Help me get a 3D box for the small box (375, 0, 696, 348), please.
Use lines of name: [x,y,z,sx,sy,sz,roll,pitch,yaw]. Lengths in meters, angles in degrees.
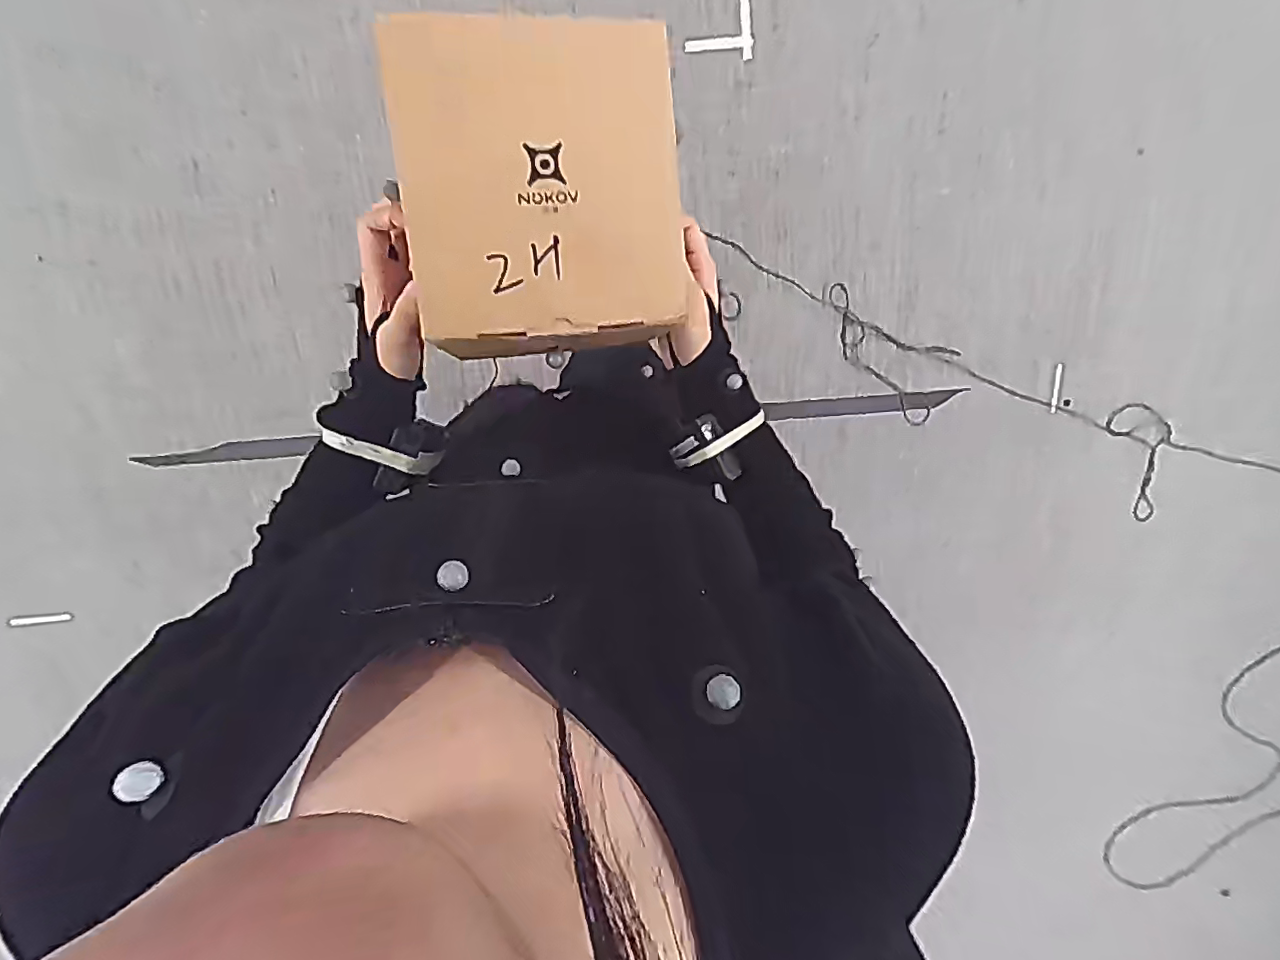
small box: [-0.068,-0.196,0.385,0.168,0.176,0.179,-8,100,-9]
